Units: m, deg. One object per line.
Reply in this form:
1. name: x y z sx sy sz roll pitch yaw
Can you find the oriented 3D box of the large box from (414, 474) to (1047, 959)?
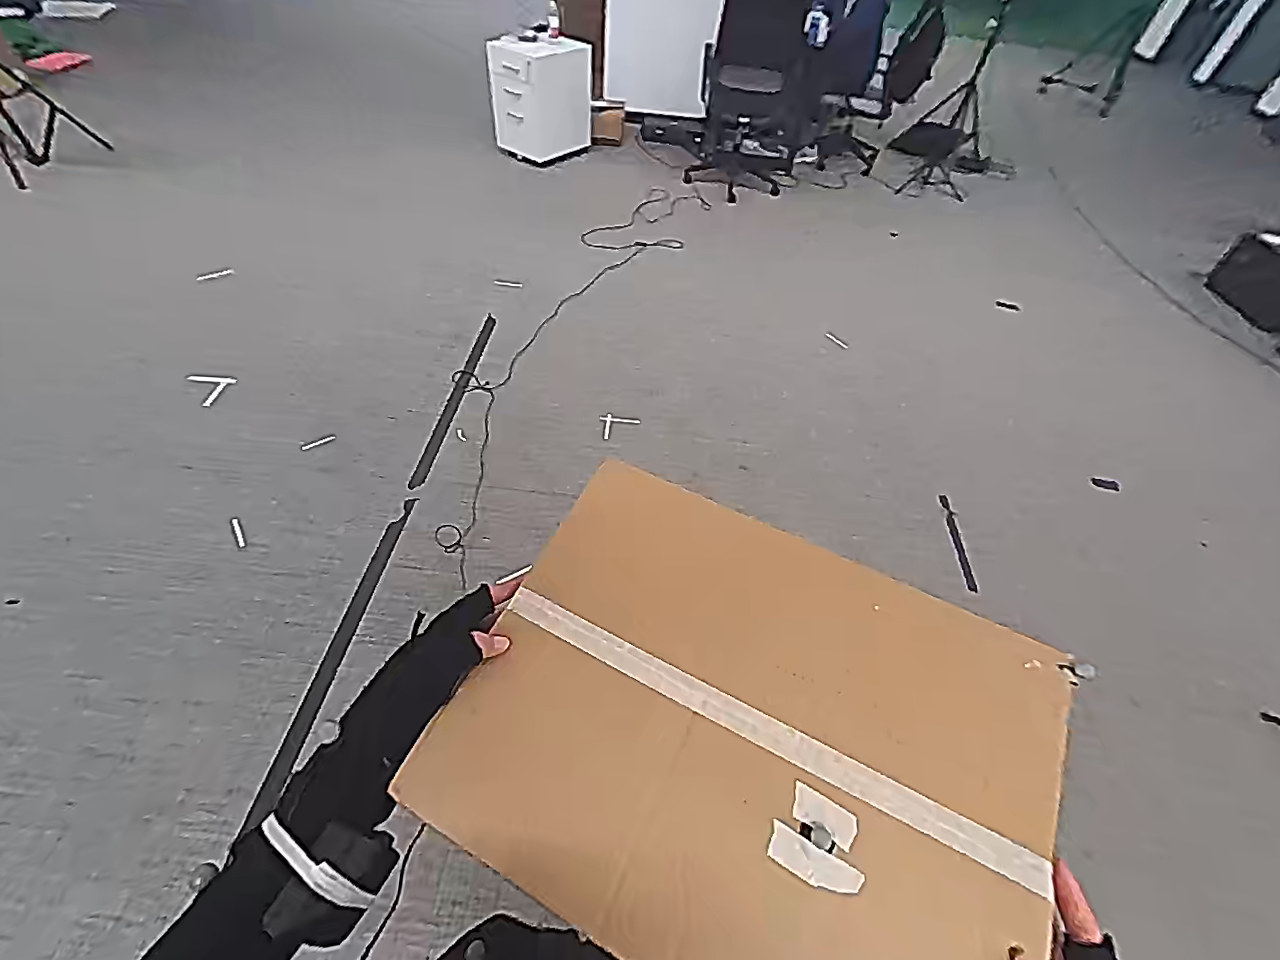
1. large box: 0.079 0.259 0.533 0.408 0.320 0.320 24 62 15
